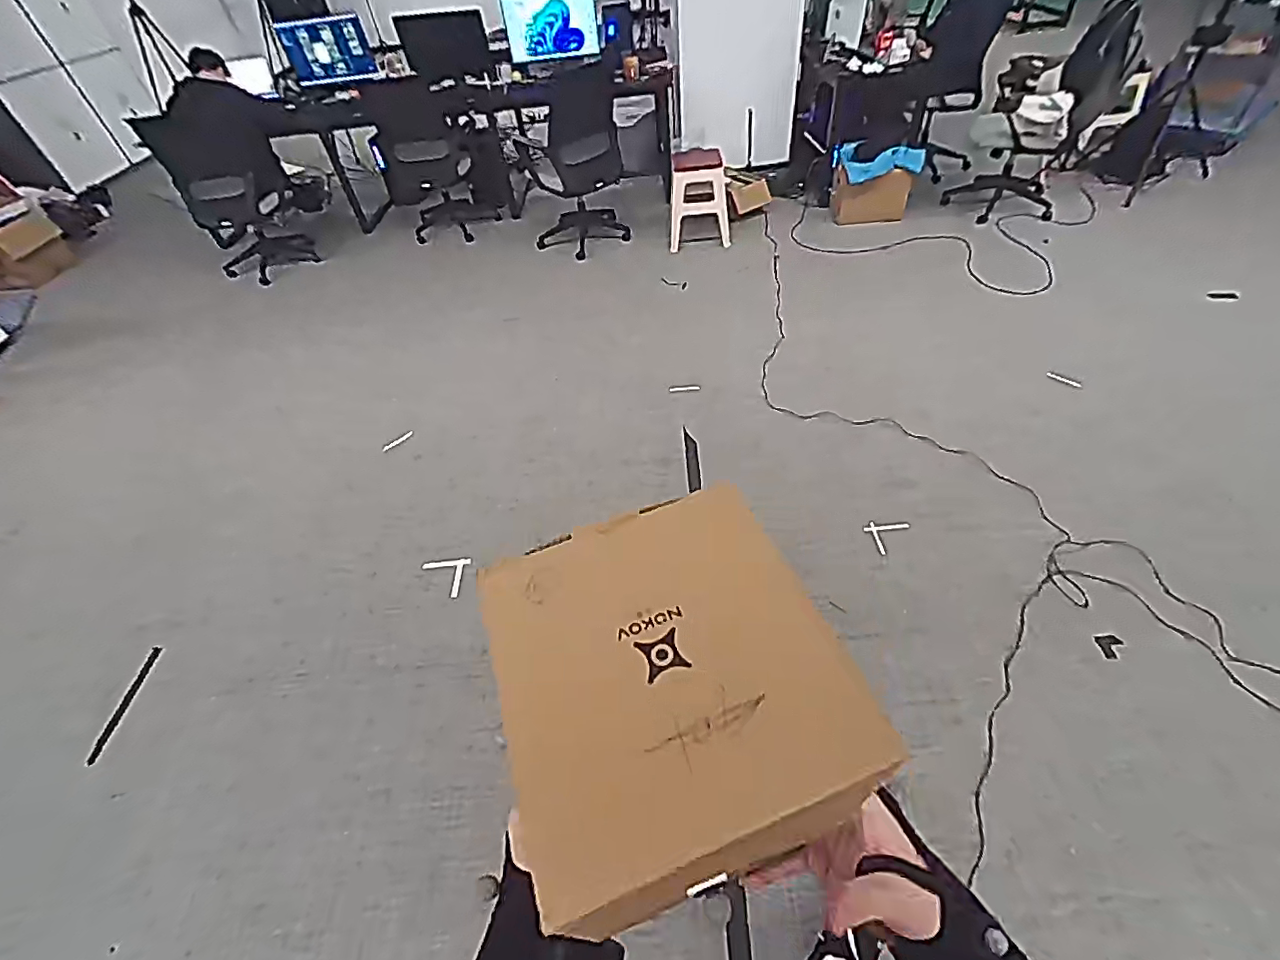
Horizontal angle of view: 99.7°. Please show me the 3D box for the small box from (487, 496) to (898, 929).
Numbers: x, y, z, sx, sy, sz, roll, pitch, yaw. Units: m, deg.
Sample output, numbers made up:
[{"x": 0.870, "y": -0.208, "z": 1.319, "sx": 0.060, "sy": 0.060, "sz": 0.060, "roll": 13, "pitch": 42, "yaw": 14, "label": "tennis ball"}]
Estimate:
[{"x": 0.019, "y": 0.146, "z": 0.343, "sx": 0.168, "sy": 0.176, "sz": 0.179, "roll": -20, "pitch": 50, "yaw": -10, "label": "small box"}]
